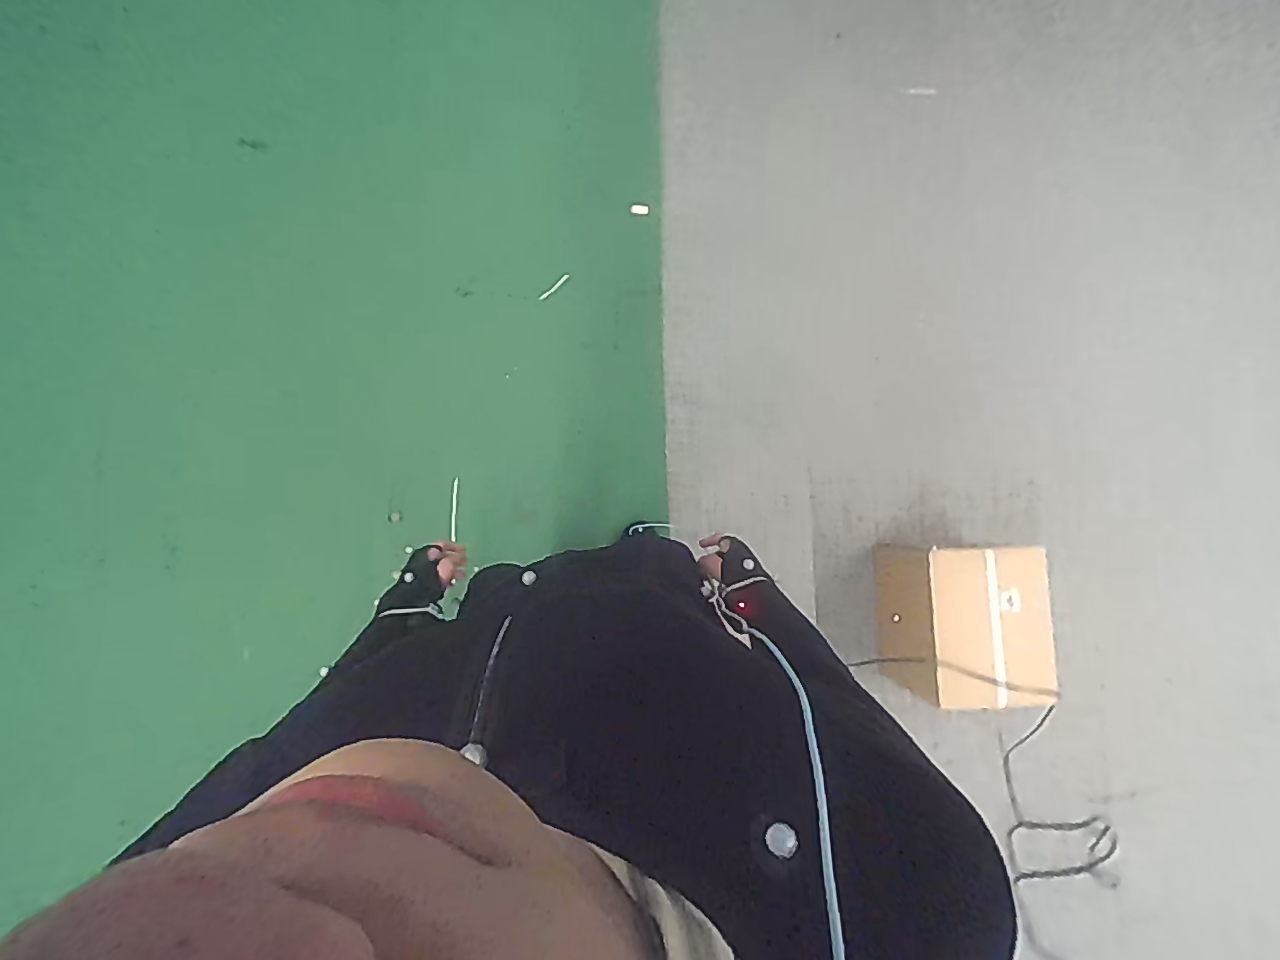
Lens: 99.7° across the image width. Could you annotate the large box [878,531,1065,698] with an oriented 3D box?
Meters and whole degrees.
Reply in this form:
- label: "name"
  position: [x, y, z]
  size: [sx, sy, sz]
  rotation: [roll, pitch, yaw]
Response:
- label: "large box"
  position: [0.903, 0.356, 1.522]
  size: [0.320, 0.320, 0.408]
  rotation: [-3, 84, -2]
